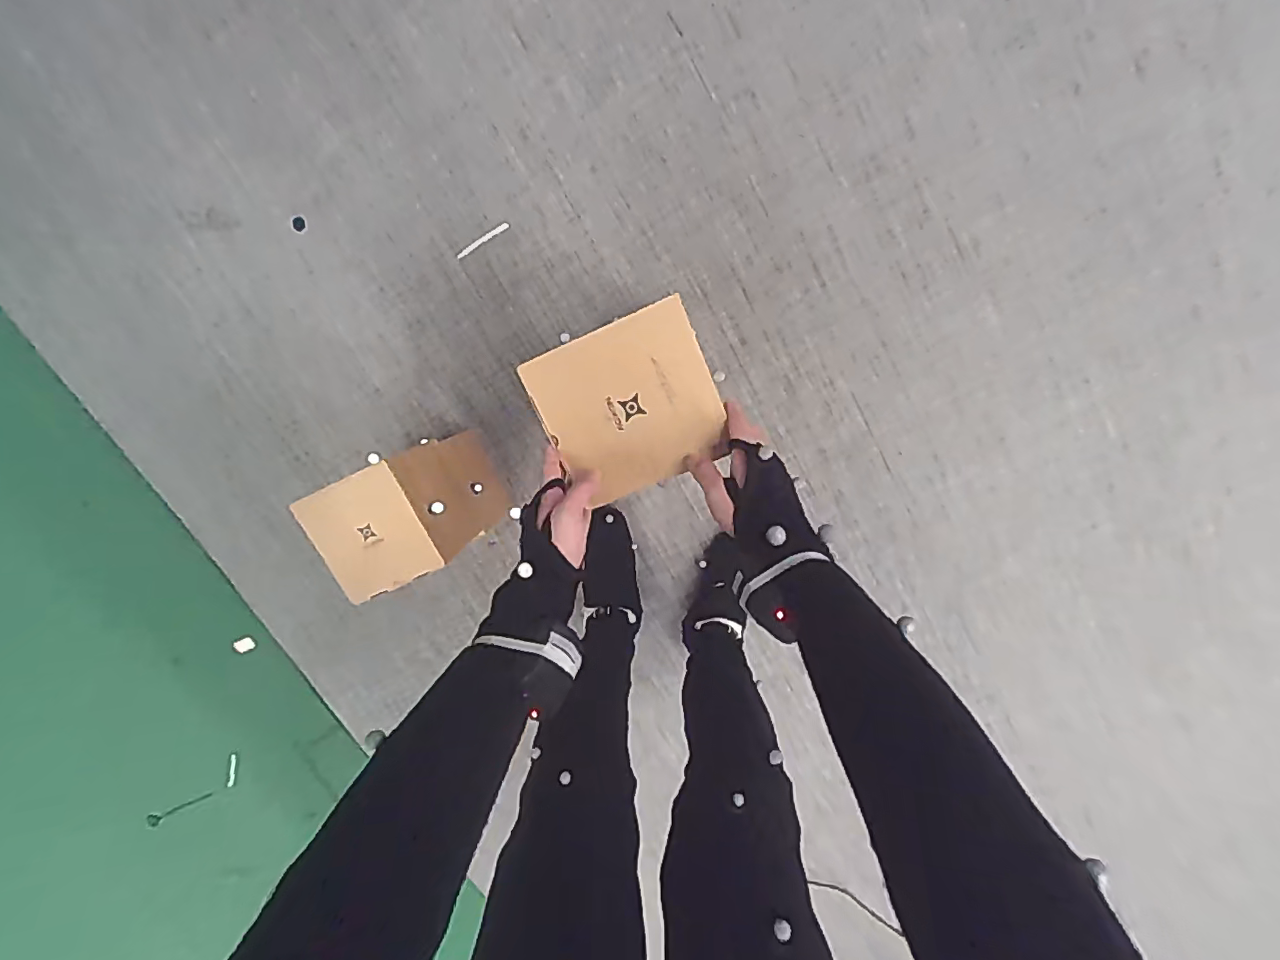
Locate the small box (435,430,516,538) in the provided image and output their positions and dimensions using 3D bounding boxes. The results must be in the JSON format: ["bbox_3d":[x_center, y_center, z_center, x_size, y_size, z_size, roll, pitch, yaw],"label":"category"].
[{"bbox_3d":[-0.361,0.024,1.027,0.168,0.176,0.179,-24,103,9],"label":"small box"}]

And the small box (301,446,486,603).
[{"bbox_3d":[-0.372,0.057,0.853,0.168,0.176,0.179,-23,103,9],"label":"small box"}]

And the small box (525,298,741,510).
[{"bbox_3d":[0.002,-0.089,0.613,0.179,0.176,0.168,-21,103,11],"label":"small box"}]
